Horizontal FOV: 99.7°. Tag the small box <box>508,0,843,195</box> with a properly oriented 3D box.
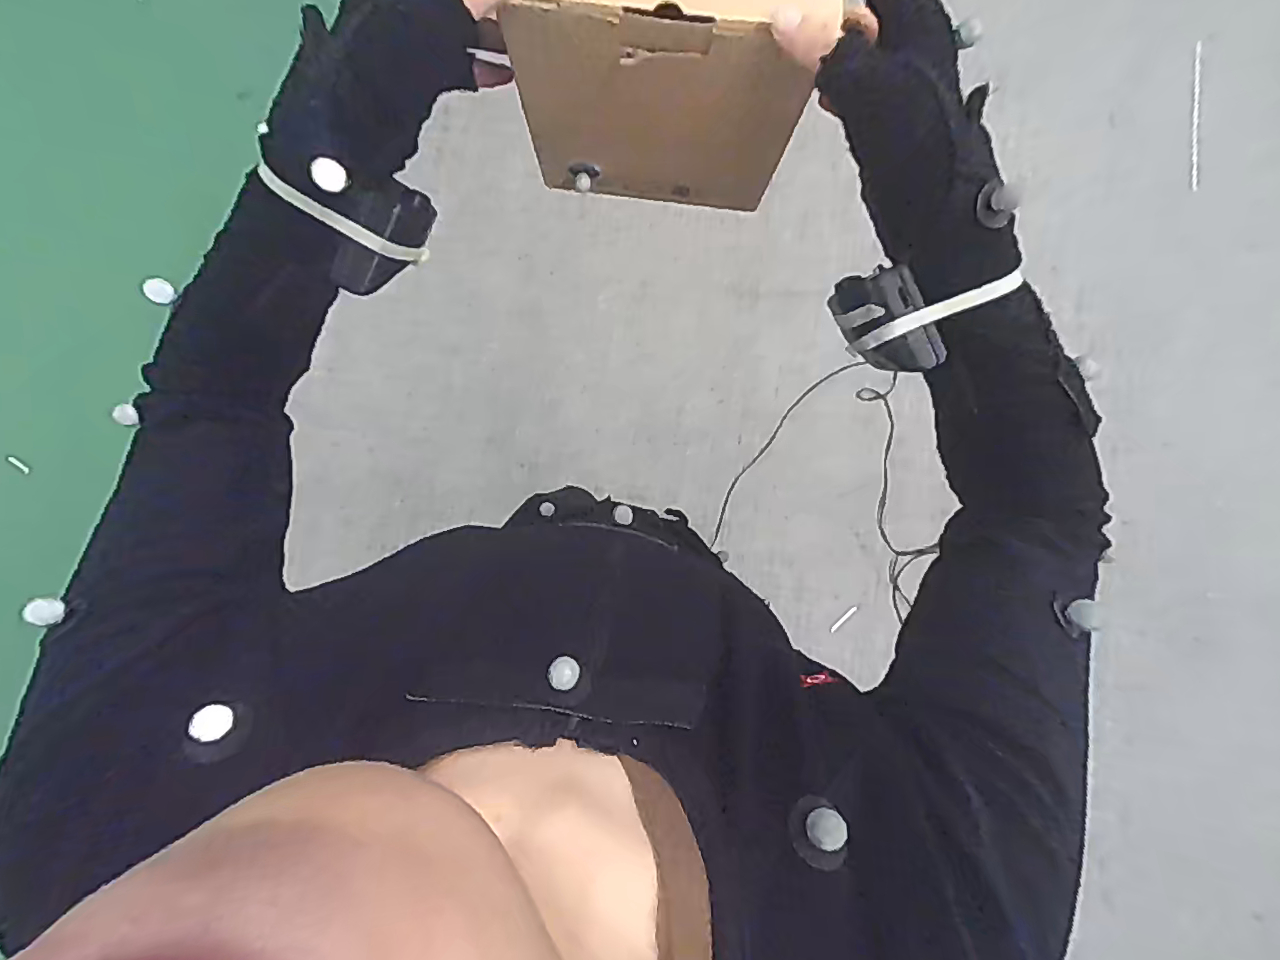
[{"bbox_3d":[0.023,-0.309,0.338,0.168,0.176,0.179,6,88,-2],"label":"small box"}]
